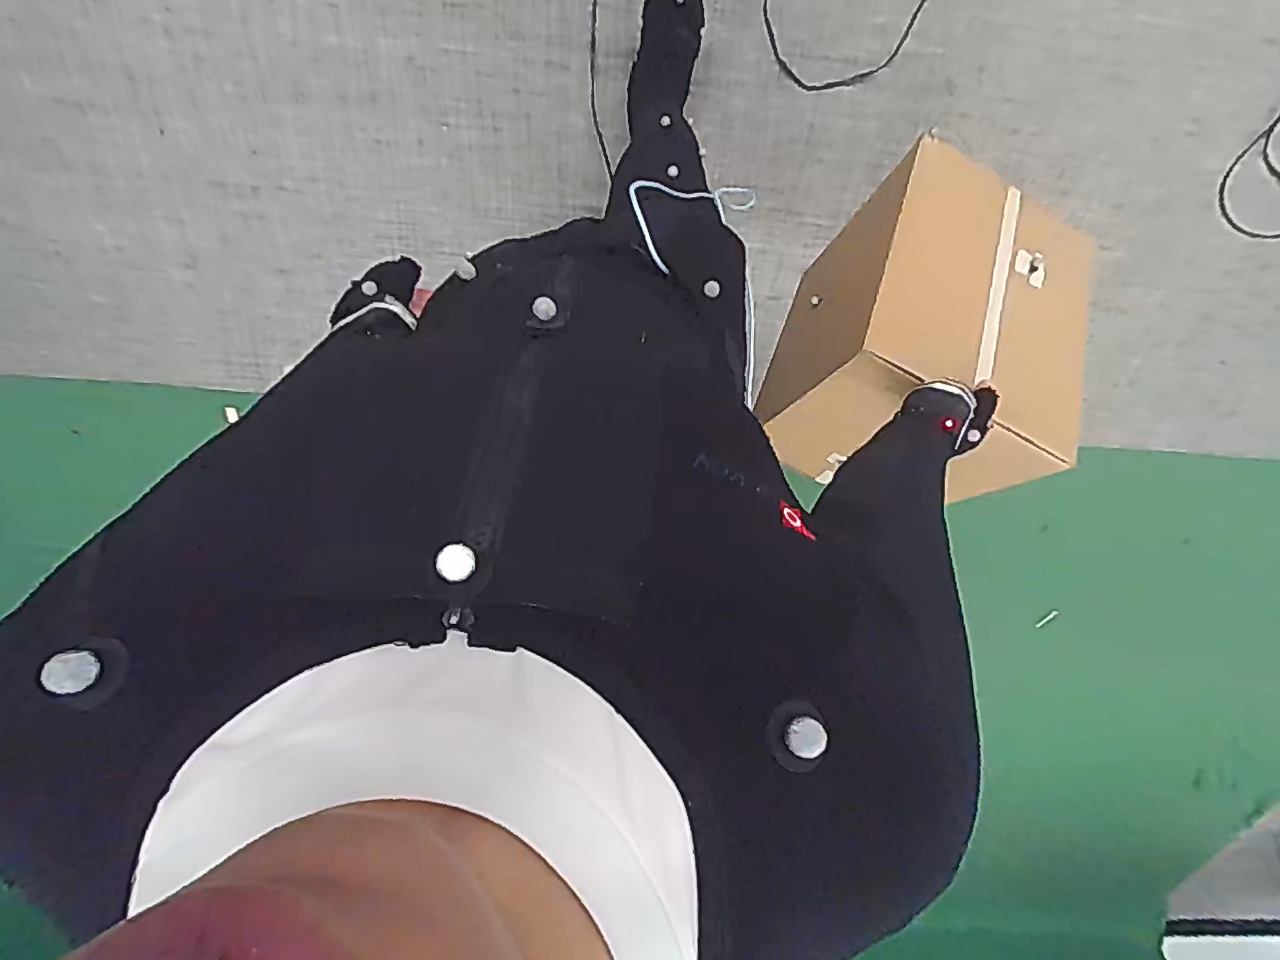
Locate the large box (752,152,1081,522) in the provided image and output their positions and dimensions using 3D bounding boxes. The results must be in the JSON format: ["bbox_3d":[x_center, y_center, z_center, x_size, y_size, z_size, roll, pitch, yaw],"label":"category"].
[{"bbox_3d":[0.425,-0.198,0.862,0.320,0.408,0.320,27,157,-8],"label":"large box"}]
